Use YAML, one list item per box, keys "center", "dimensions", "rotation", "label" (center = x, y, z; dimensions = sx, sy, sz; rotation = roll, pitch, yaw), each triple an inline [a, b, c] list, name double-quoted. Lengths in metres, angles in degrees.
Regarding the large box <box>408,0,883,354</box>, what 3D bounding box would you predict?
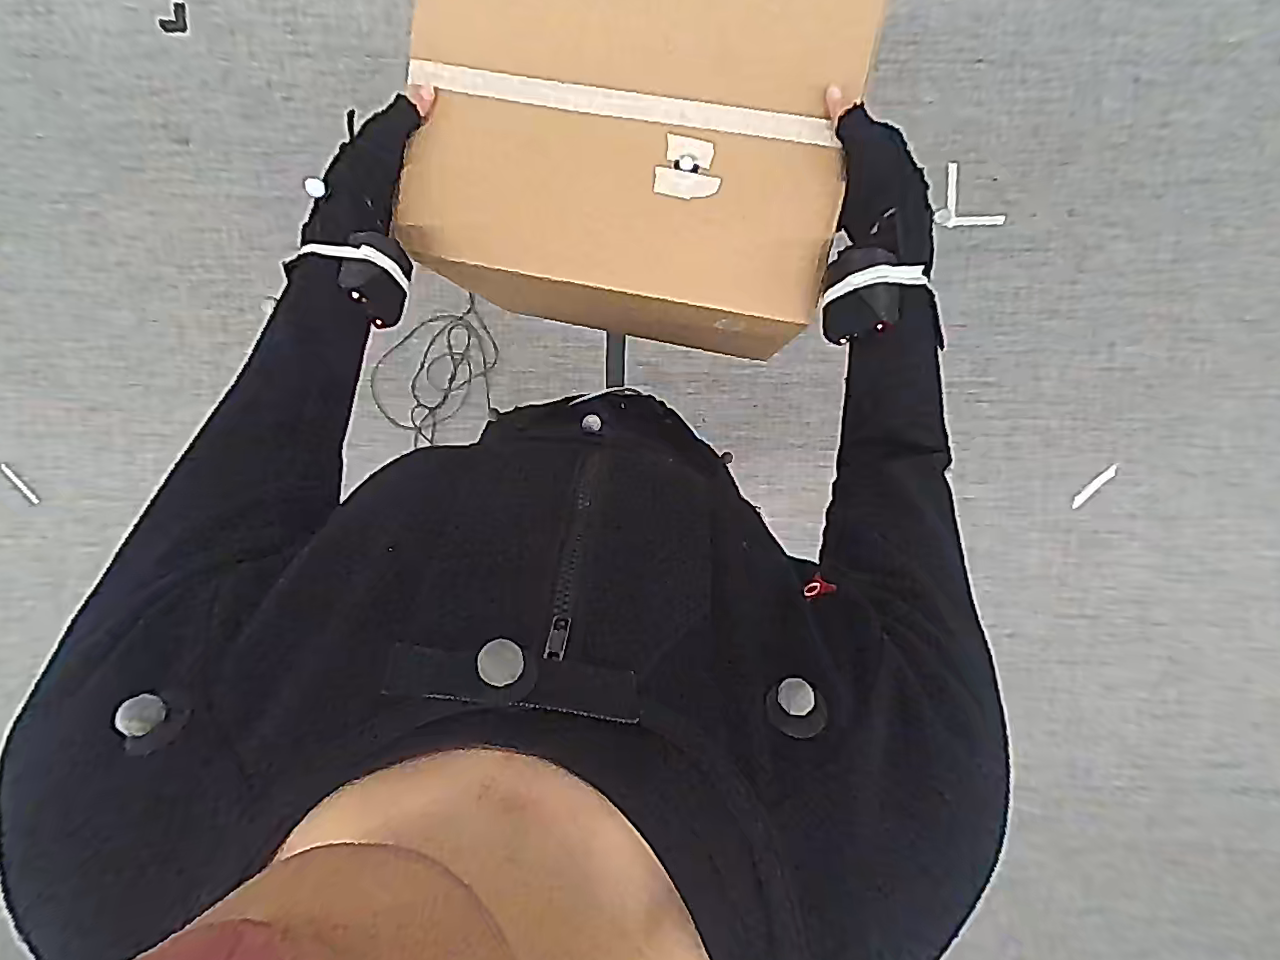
- center: [0.005, -0.352, 0.641]
  dimensions: [0.408, 0.320, 0.320]
  rotation: [12, 99, 3]
  label: "large box"
